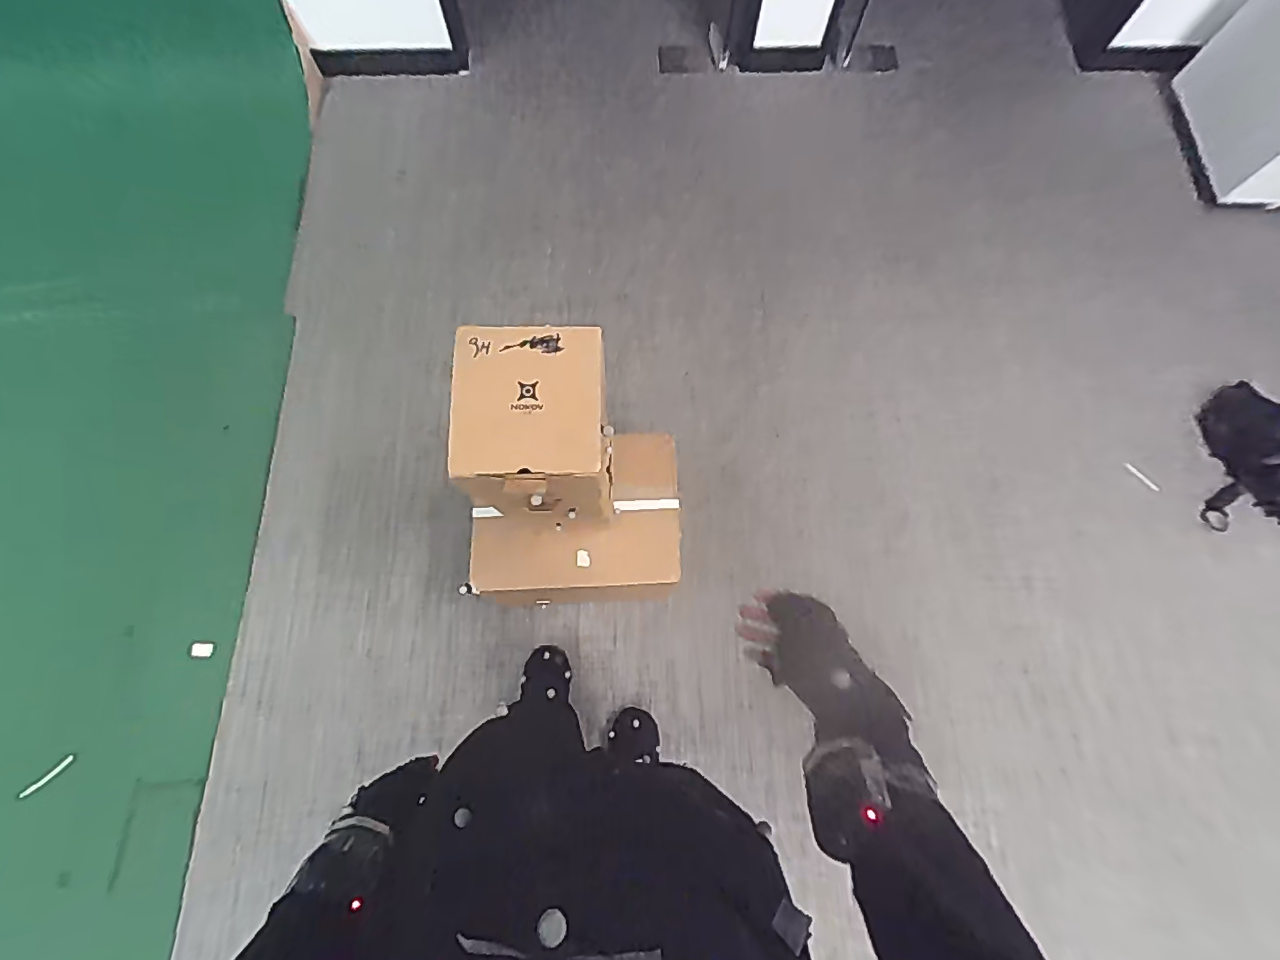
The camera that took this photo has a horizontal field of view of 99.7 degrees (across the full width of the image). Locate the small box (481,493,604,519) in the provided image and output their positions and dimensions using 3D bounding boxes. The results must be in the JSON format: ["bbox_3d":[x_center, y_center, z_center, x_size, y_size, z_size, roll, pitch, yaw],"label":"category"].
[{"bbox_3d":[-0.141,-0.034,0.840,0.168,0.176,0.179,0,77,-2],"label":"small box"}]

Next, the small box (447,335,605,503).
[{"bbox_3d":[-0.131,-0.065,0.679,0.168,0.176,0.179,-1,79,-1],"label":"small box"}]

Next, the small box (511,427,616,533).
[{"bbox_3d":[-0.136,0.006,0.997,0.179,0.176,0.168,-3,79,-2],"label":"small box"}]
